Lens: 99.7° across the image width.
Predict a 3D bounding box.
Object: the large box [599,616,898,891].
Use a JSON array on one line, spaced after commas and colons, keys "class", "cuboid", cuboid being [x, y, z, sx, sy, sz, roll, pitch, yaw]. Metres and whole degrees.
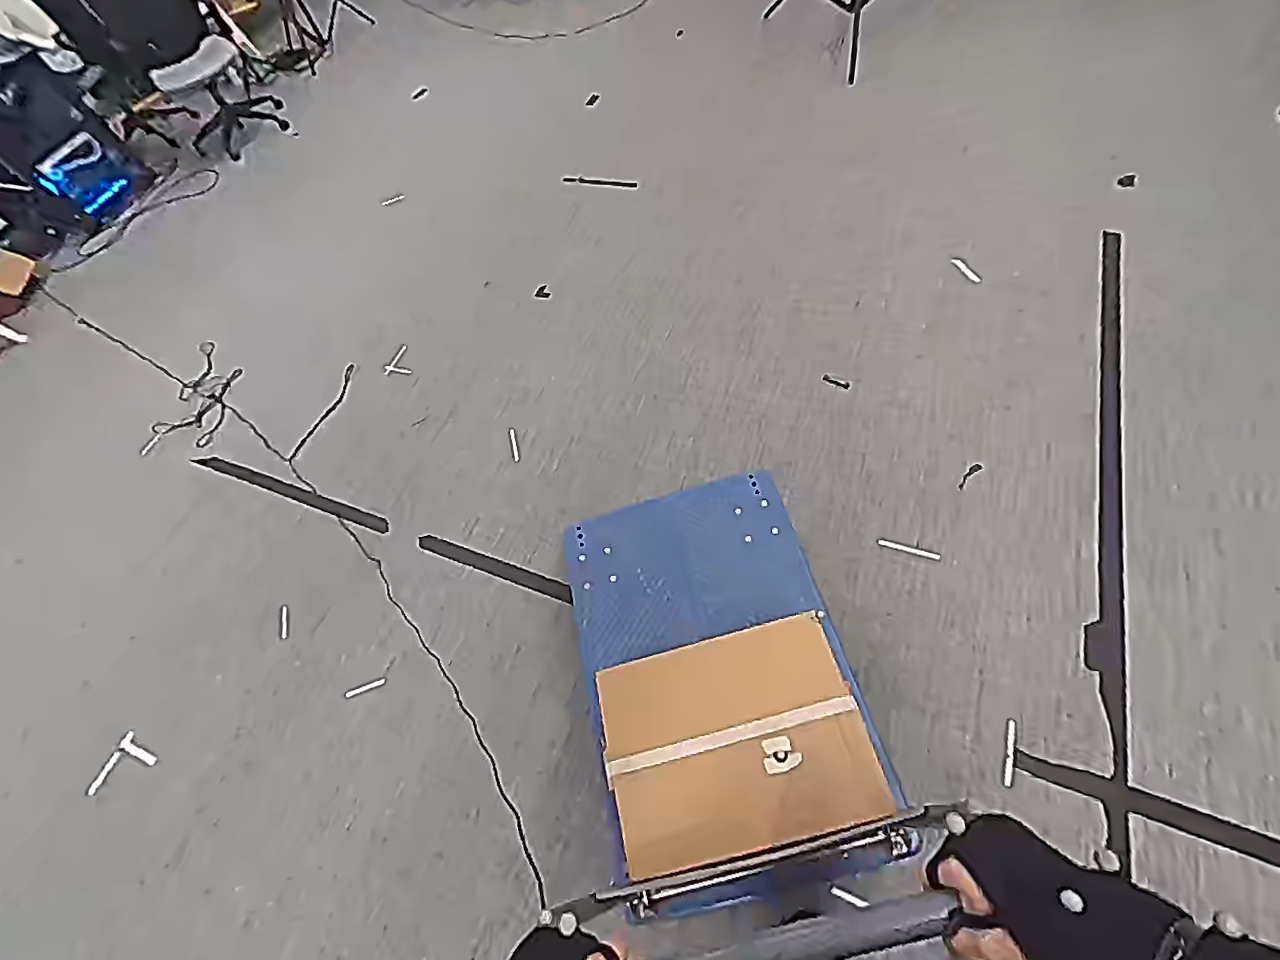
[{"class": "large box", "cuboid": [0.176, 0.494, 0.983, 0.408, 0.320, 0.320, -17, 57, 2]}]
